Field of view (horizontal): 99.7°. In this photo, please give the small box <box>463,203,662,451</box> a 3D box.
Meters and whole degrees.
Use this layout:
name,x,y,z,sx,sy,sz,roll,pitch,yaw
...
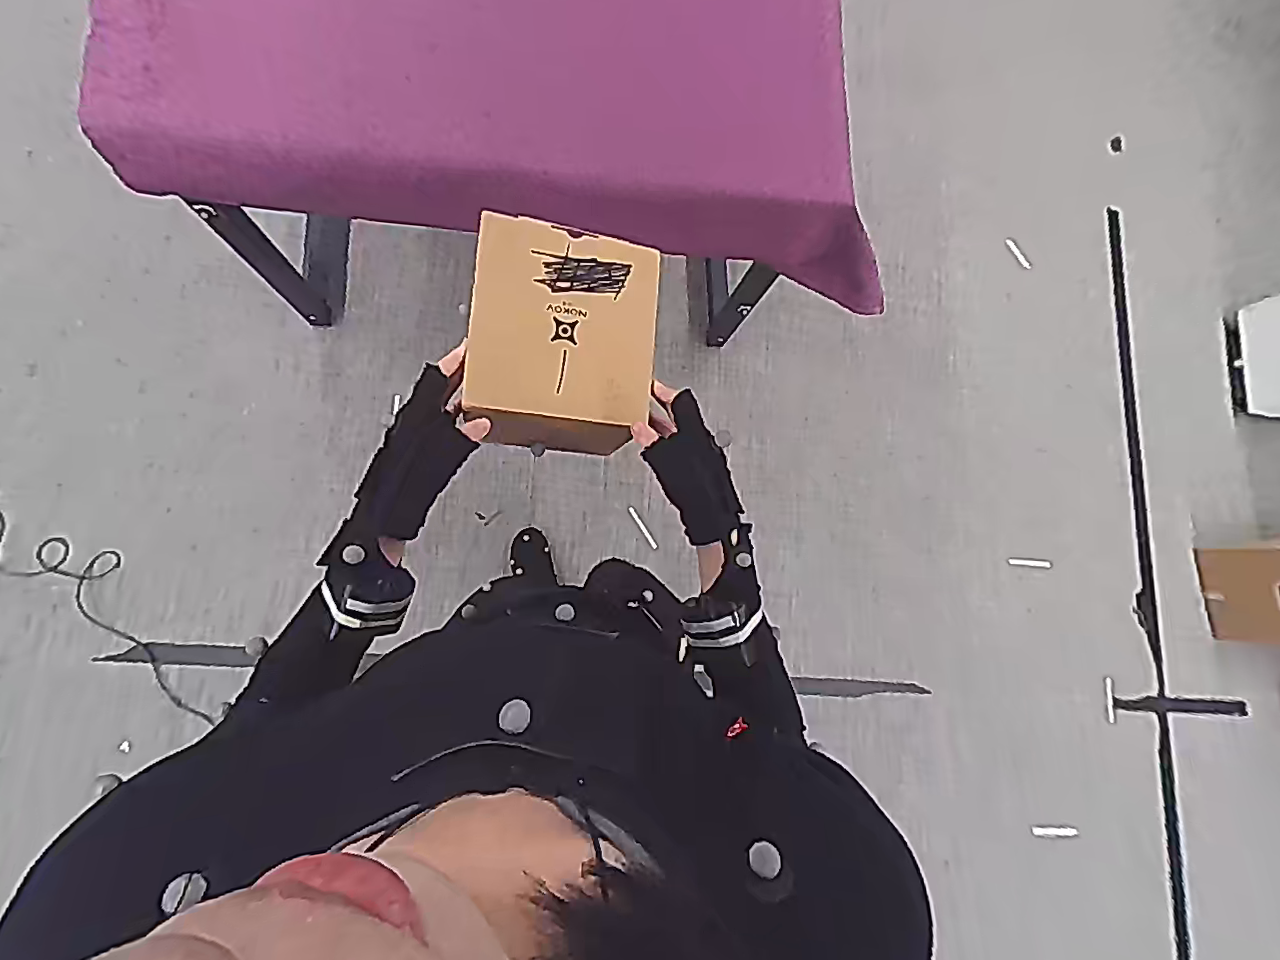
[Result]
name,x,y,z,sx,sy,sz,roll,pitch,yaw
small box,-0.085,-0.138,0.554,0.168,0.176,0.179,7,82,-15
